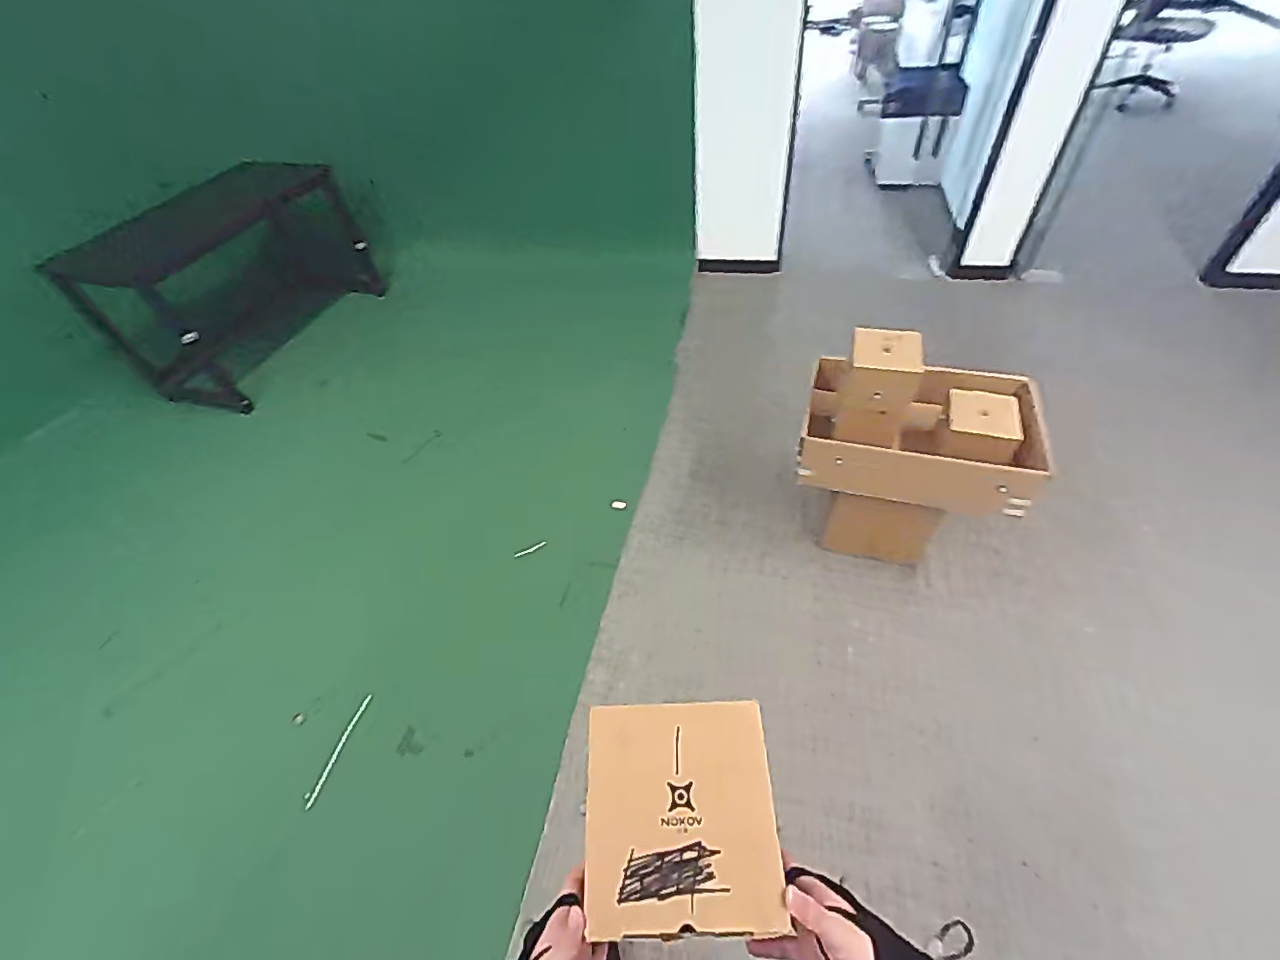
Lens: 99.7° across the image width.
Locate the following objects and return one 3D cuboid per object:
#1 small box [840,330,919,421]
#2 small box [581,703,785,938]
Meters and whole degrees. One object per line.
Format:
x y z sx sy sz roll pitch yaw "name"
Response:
0.647 -0.283 1.470 0.168 0.176 0.179 10 51 14 "small box"
0.037 0.333 0.538 0.168 0.176 0.179 -1 54 1 "small box"
